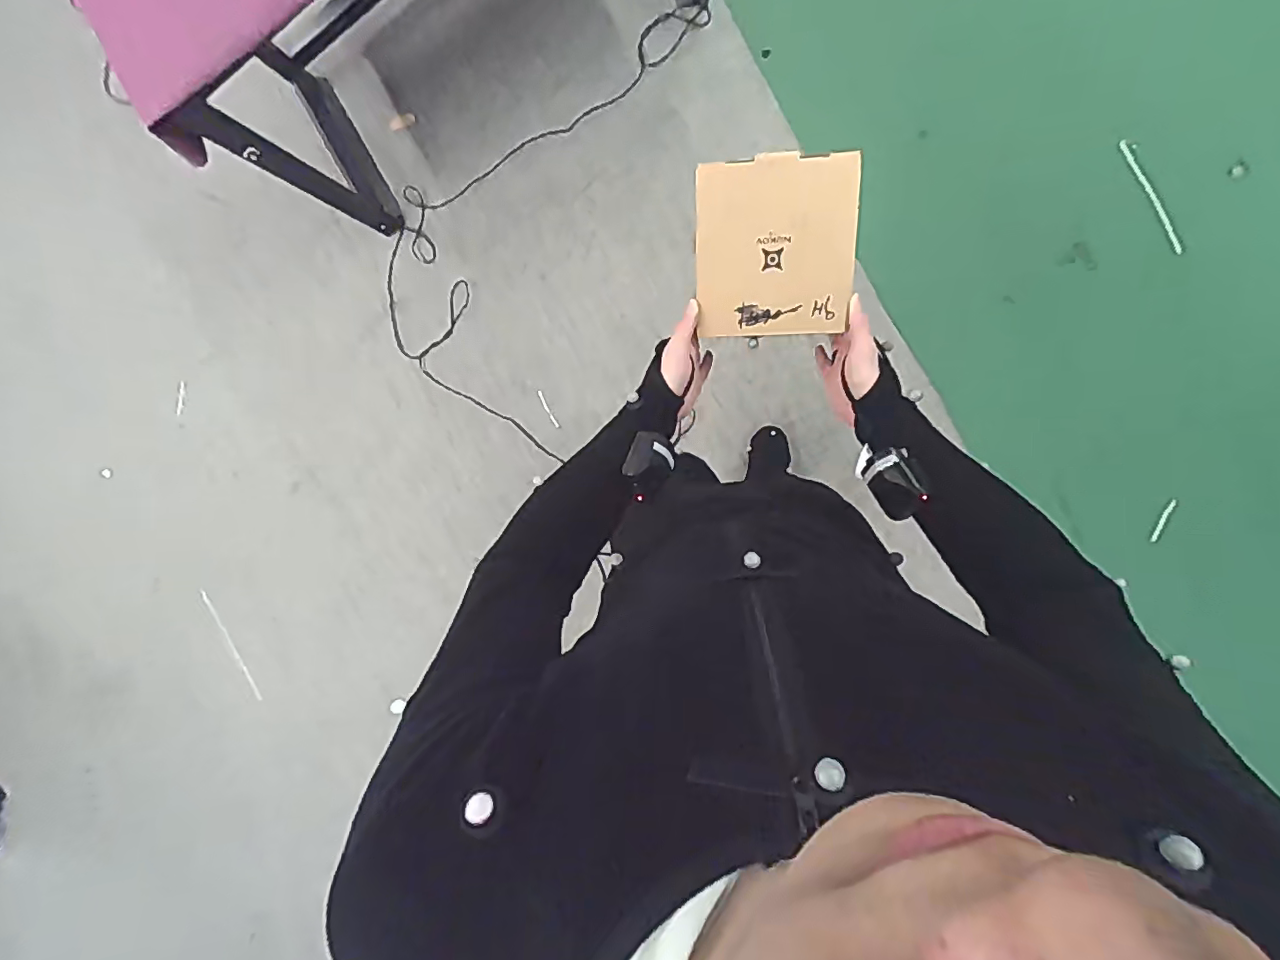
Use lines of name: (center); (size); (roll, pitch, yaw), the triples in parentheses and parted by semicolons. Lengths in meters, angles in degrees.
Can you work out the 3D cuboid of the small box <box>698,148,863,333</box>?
small box: (0.154, -0.268, 0.642); (0.168, 0.176, 0.179); (0, 107, 9)
